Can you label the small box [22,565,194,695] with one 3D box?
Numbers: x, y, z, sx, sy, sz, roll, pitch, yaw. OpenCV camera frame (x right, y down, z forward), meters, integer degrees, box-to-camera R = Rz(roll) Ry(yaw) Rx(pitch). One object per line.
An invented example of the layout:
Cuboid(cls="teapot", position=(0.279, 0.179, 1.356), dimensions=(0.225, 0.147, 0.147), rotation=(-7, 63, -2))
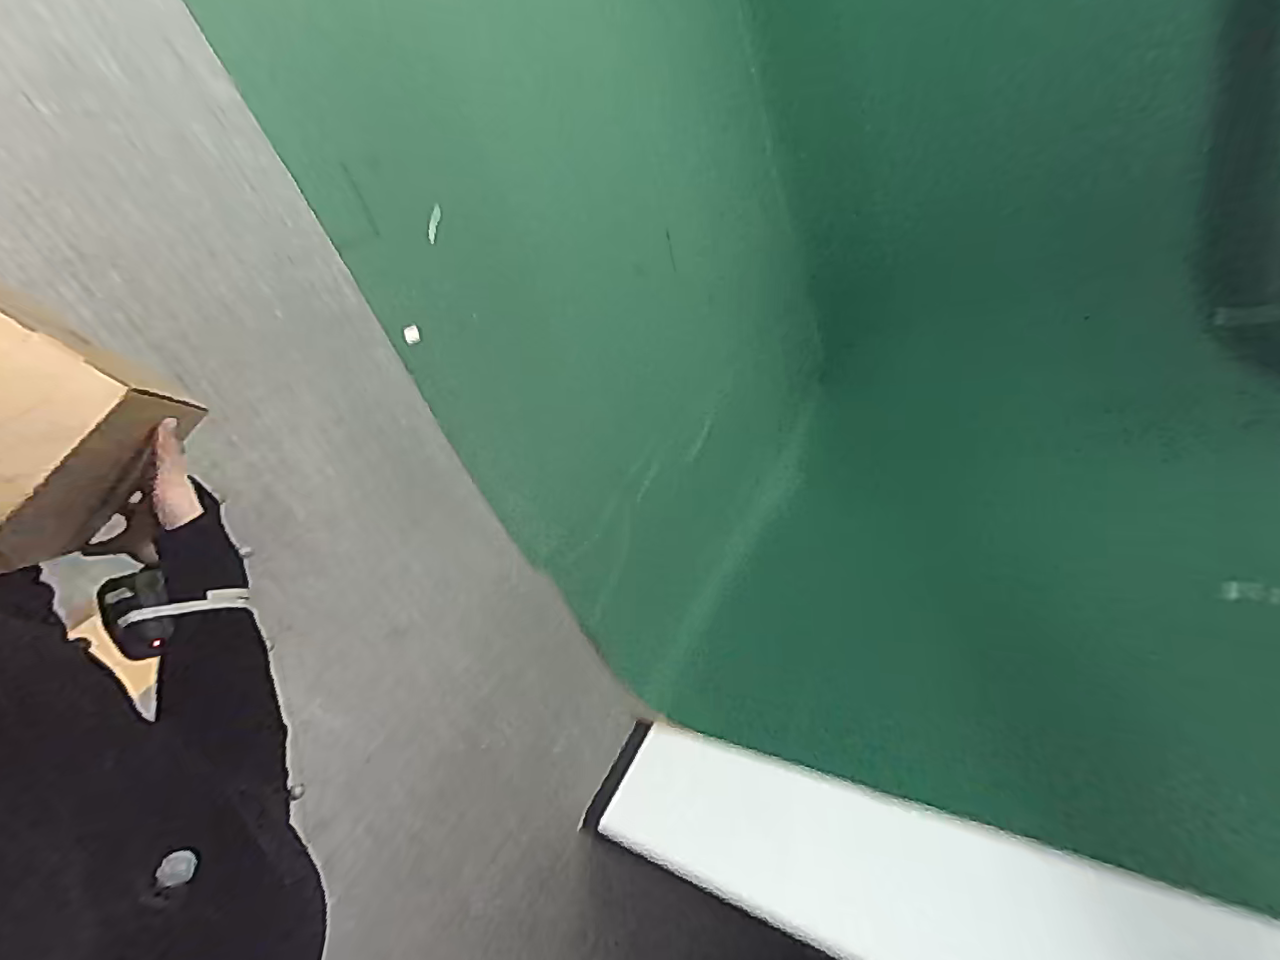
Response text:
Cuboid(cls="small box", position=(-1.048, 0.287, 1.067), dimensions=(0.179, 0.176, 0.168), rotation=(-53, 129, -40))
